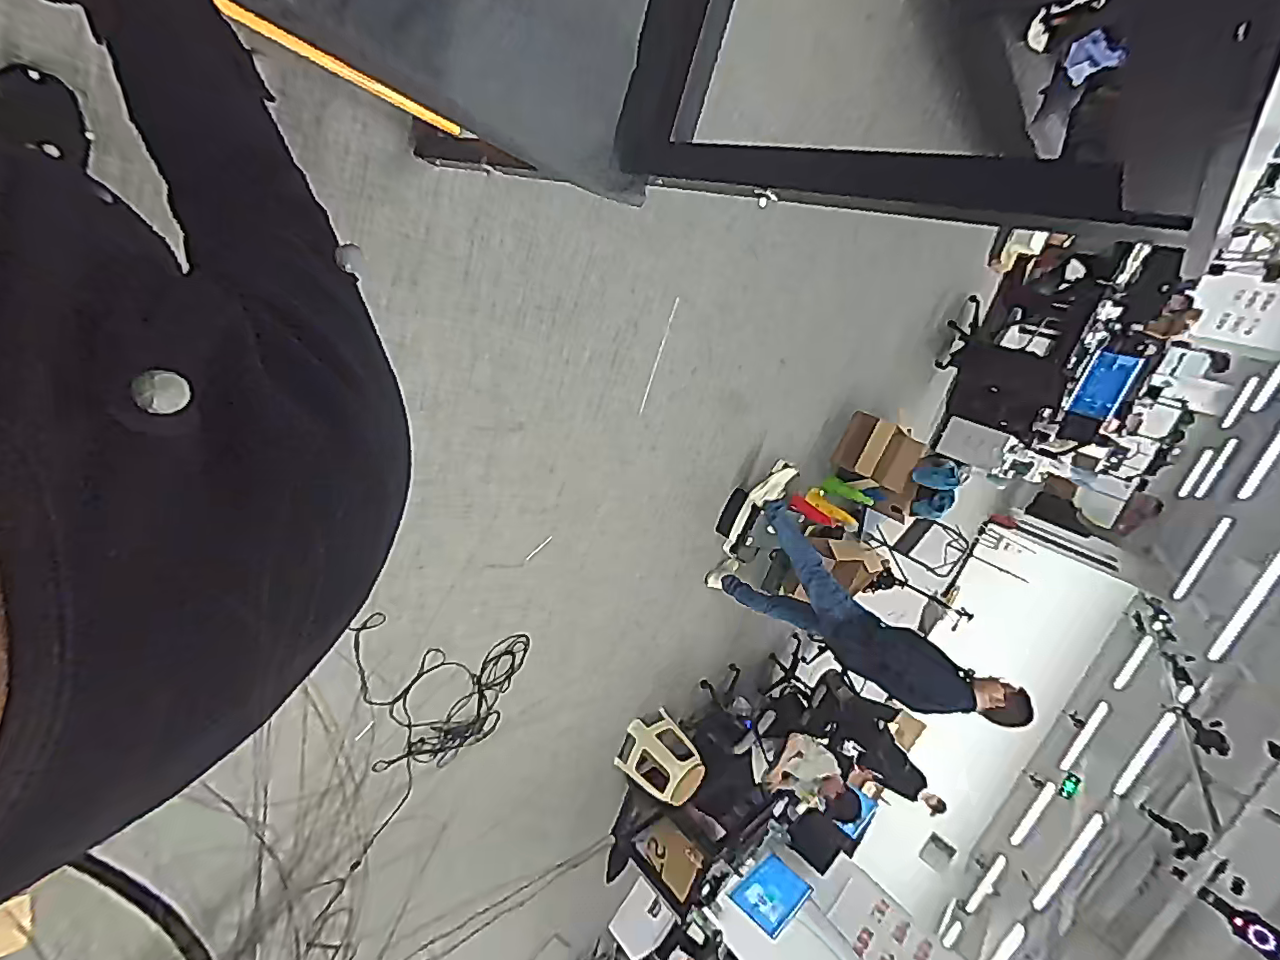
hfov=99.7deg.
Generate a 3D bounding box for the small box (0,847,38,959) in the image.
[{"bbox_3d":[-1.519,1.011,1.251,0.168,0.176,0.179,-3,114,-50],"label":"small box"}]
